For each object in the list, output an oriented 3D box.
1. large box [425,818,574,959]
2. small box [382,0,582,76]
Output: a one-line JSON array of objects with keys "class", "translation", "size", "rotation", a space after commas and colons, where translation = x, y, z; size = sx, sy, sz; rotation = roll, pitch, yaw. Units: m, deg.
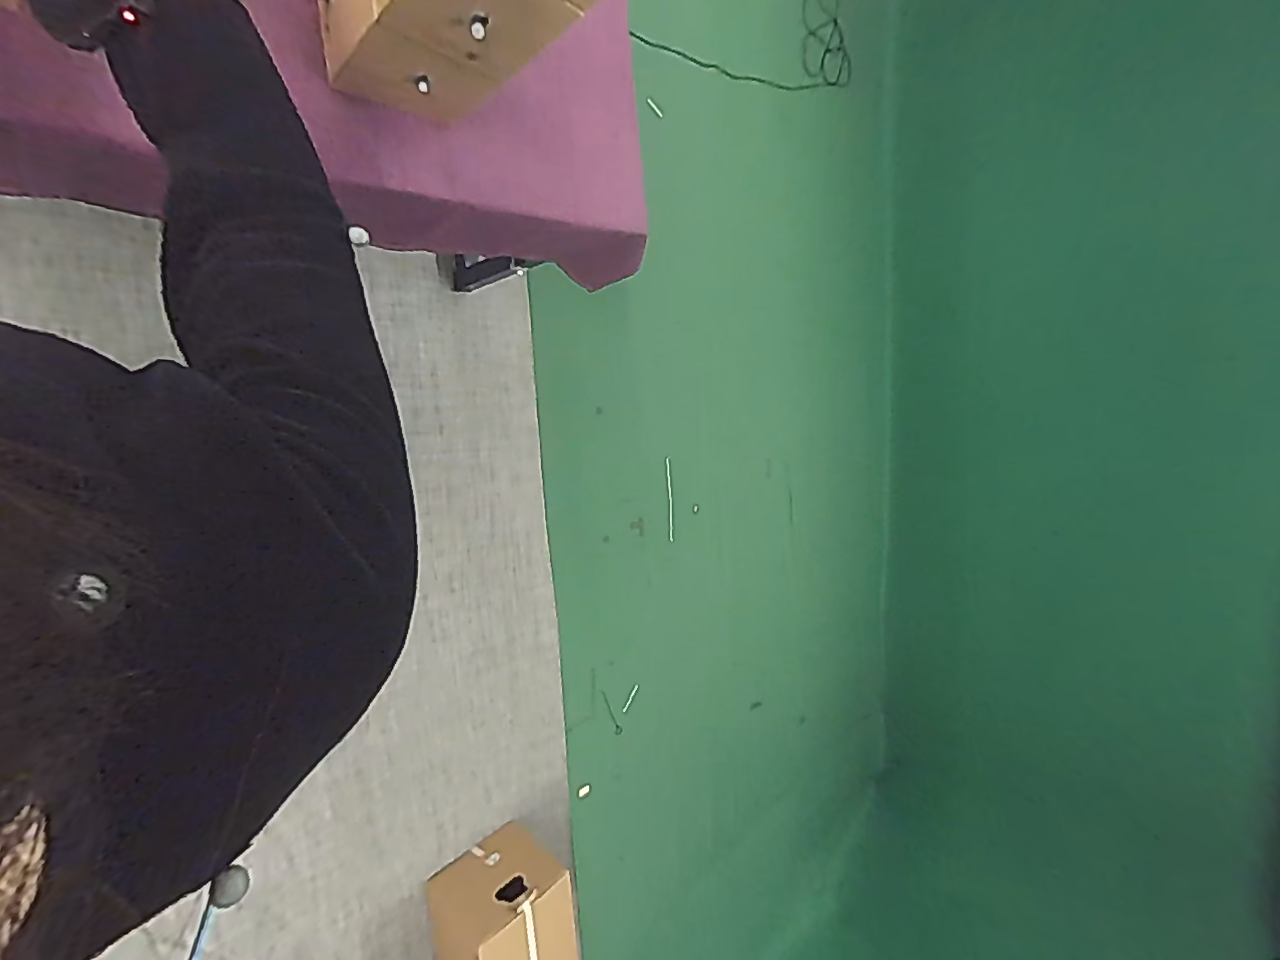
[{"class": "large box", "translation": [-0.432, 1.380, 1.680], "size": [0.320, 0.320, 0.408], "rotation": [-13, 104, -45]}, {"class": "small box", "translation": [-0.179, -0.594, 0.589], "size": [0.168, 0.176, 0.179], "rotation": [-7, 99, -46]}]
